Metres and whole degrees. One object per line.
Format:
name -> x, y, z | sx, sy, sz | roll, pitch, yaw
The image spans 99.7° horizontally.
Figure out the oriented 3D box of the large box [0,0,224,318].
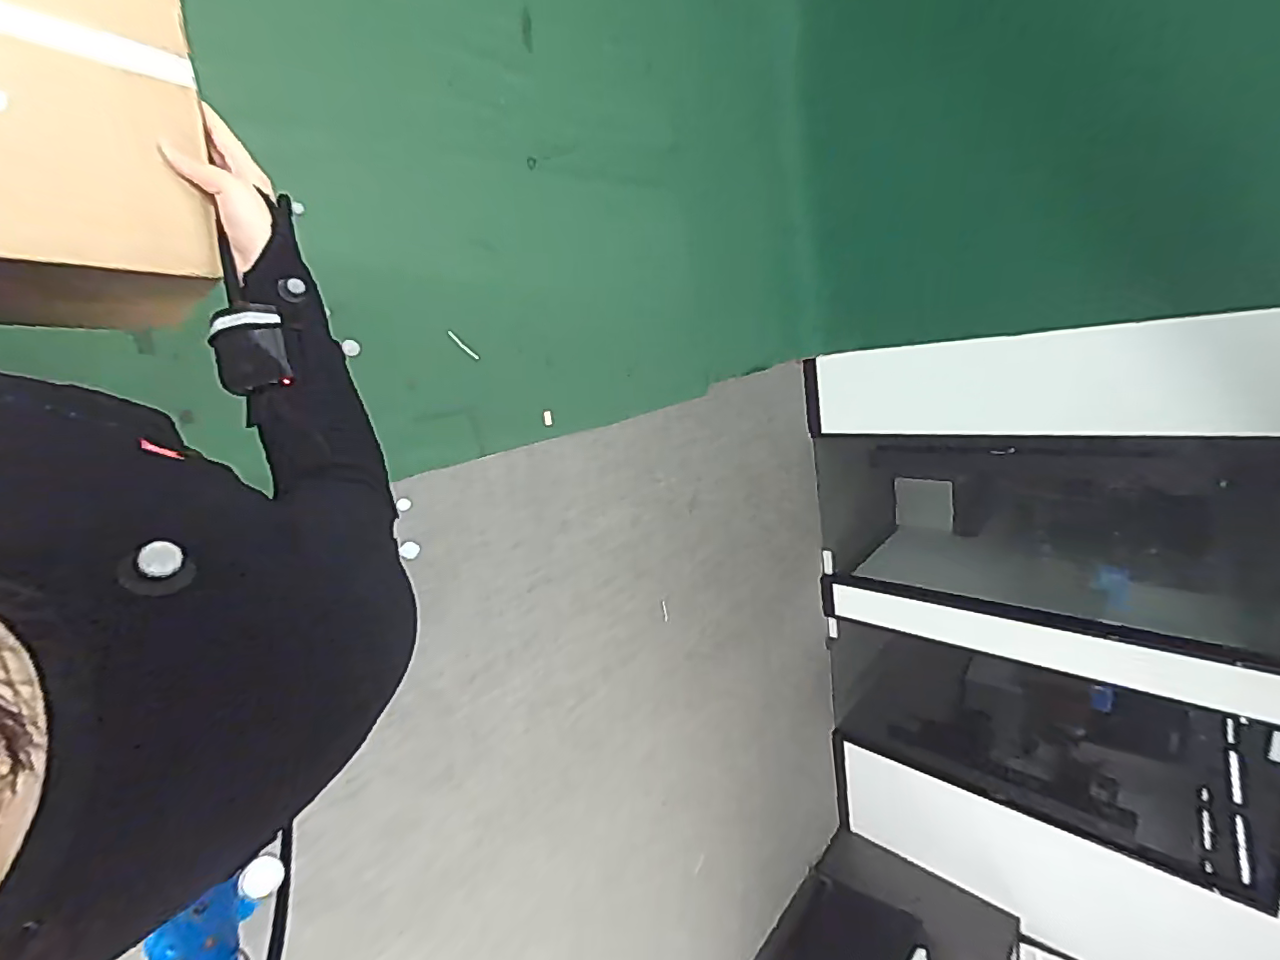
large box -> -0.610, -0.309, 0.400 | 0.408, 0.320, 0.320 | -12, 103, -46
